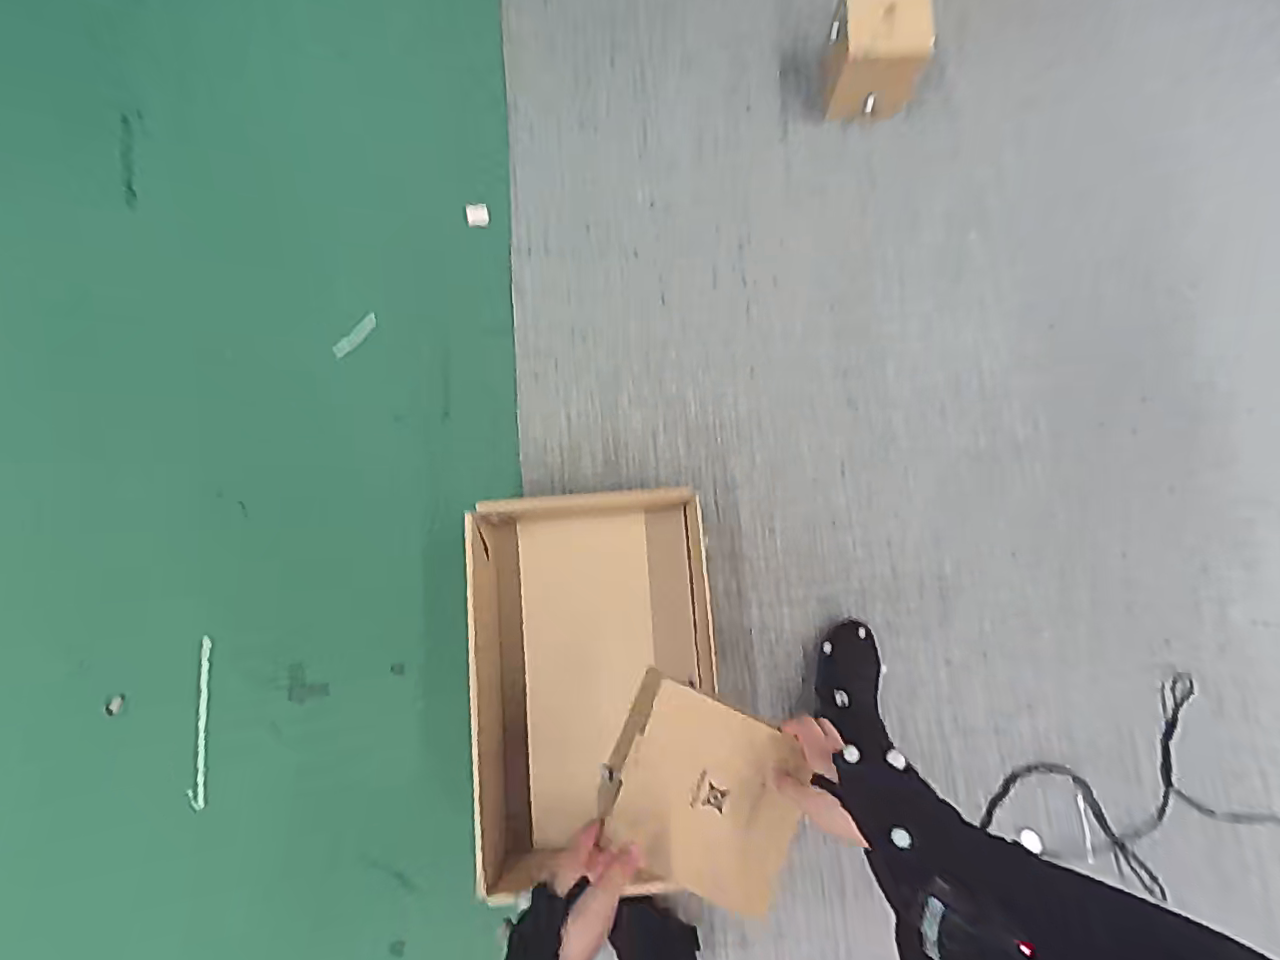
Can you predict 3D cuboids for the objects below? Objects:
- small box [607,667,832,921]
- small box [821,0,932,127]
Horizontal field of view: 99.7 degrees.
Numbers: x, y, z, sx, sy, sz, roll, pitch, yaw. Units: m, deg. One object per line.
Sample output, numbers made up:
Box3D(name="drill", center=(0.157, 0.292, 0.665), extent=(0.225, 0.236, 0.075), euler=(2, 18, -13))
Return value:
Box3D(name="small box", center=(0.072, 0.316, 0.589), extent=(0.179, 0.176, 0.168), euler=(24, 75, 1))
Box3D(name="small box", center=(0.489, -0.891, 1.143), extent=(0.168, 0.176, 0.179), euler=(0, 82, 2))
